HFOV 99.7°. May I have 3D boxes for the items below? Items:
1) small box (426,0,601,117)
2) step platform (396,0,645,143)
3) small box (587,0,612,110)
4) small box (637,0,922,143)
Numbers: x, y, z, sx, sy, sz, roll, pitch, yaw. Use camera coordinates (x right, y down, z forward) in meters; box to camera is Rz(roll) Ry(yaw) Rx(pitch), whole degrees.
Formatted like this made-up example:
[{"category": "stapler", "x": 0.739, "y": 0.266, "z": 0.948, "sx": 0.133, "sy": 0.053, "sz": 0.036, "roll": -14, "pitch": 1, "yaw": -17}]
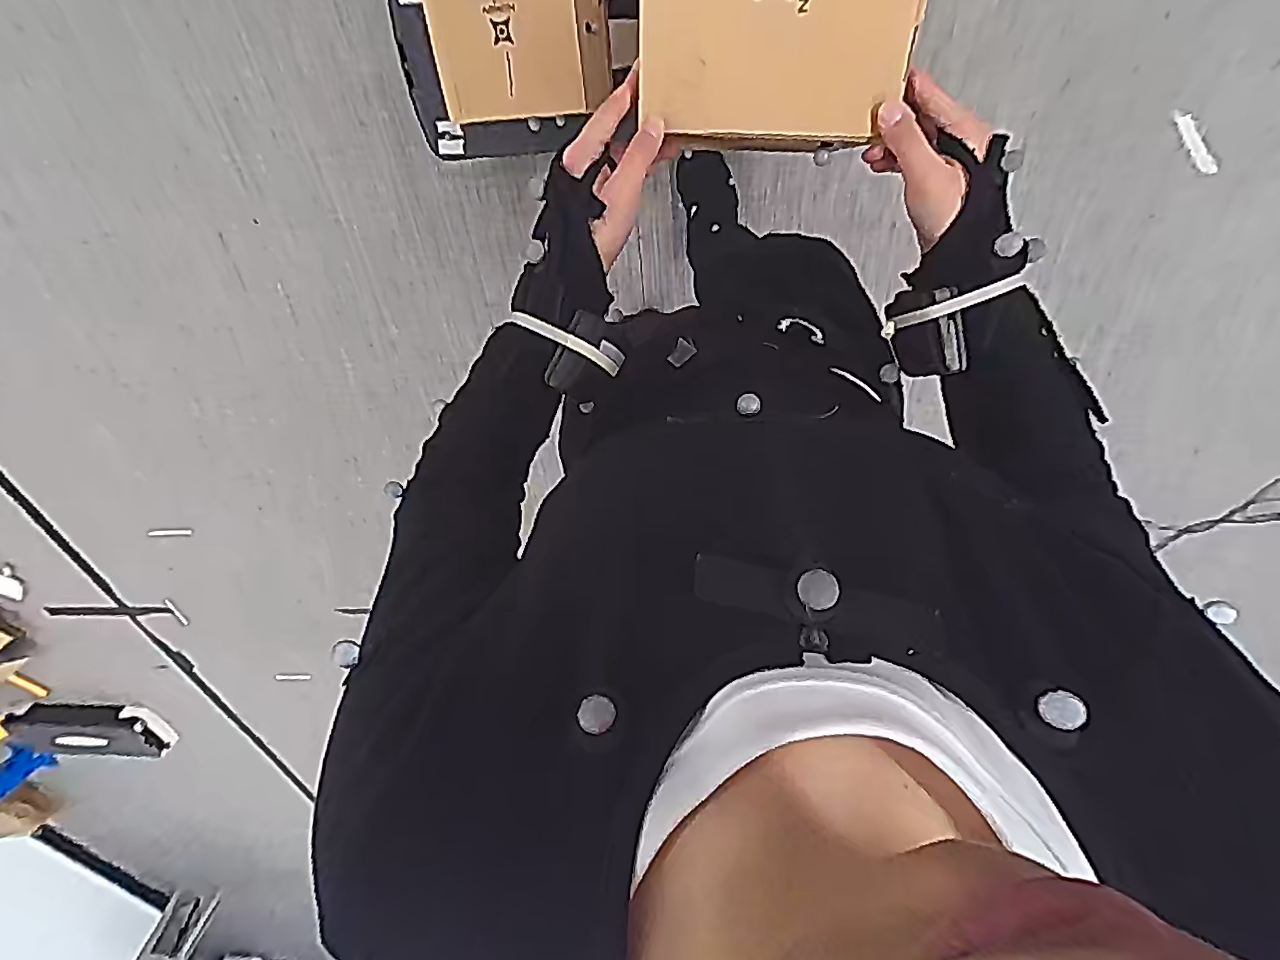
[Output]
[{"category": "small box", "x": -0.142, "y": -0.544, "z": 0.642, "sx": 0.168, "sy": 0.176, "sz": 0.179, "roll": -1, "pitch": 127, "yaw": 5}, {"category": "step platform", "x": -0.042, "y": -0.757, "z": 0.900, "sx": 0.684, "sy": 0.204, "sz": 0.286, "roll": -2, "pitch": 126, "yaw": 6}, {"category": "small box", "x": -0.133, "y": -0.638, "z": 0.778, "sx": 0.168, "sy": 0.176, "sz": 0.179, "roll": -1, "pitch": 126, "yaw": 4}, {"category": "small box", "x": 0.089, "y": -0.350, "z": 0.395, "sx": 0.179, "sy": 0.176, "sz": 0.168, "roll": 1, "pitch": 118, "yaw": 0}]
